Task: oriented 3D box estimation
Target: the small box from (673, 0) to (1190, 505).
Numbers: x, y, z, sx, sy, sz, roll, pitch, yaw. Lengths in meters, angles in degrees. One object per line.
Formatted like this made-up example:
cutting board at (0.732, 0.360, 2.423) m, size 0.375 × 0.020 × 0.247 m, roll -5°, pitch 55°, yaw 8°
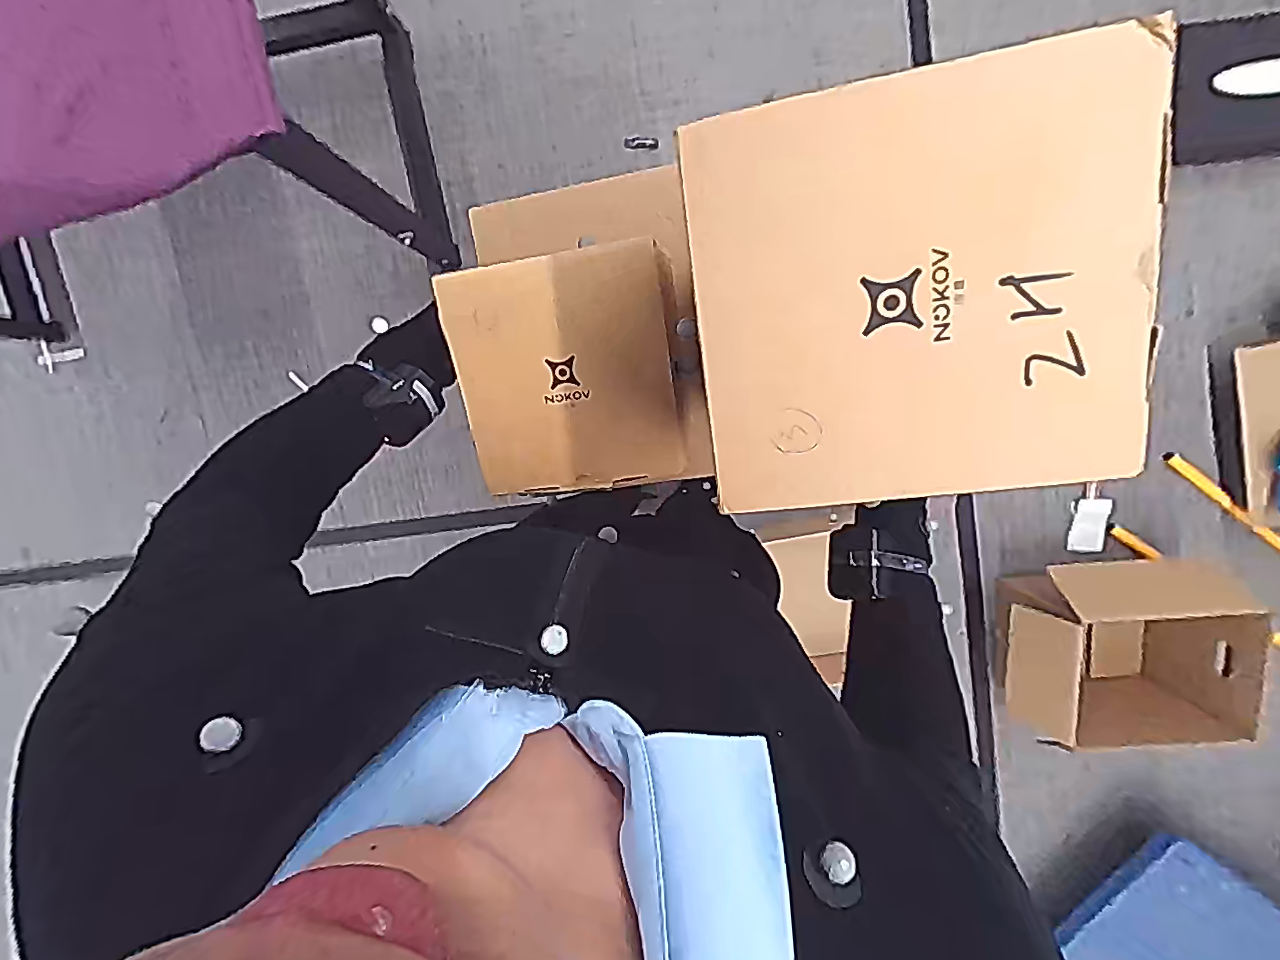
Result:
small box at (0.120, -0.093, 0.289) m, size 0.179 × 0.176 × 0.168 m, roll -6°, pitch 104°, yaw 10°
